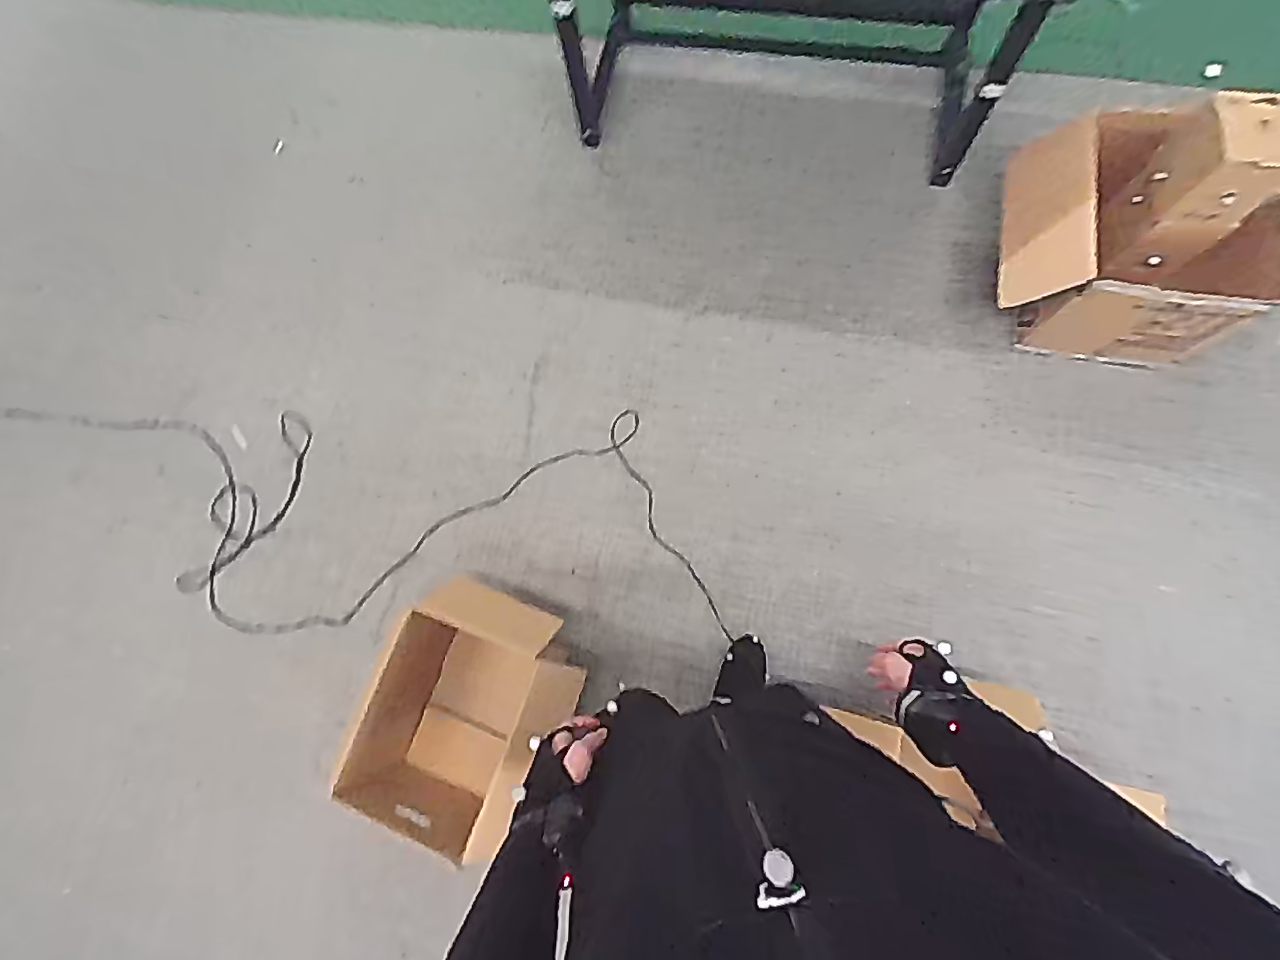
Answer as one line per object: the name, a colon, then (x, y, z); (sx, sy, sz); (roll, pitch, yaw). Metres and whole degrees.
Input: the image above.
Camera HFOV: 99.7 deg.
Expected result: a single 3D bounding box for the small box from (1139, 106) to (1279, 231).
small box: (1.243, -0.666, 1.173); (0.168, 0.176, 0.179); (3, 75, 6)
